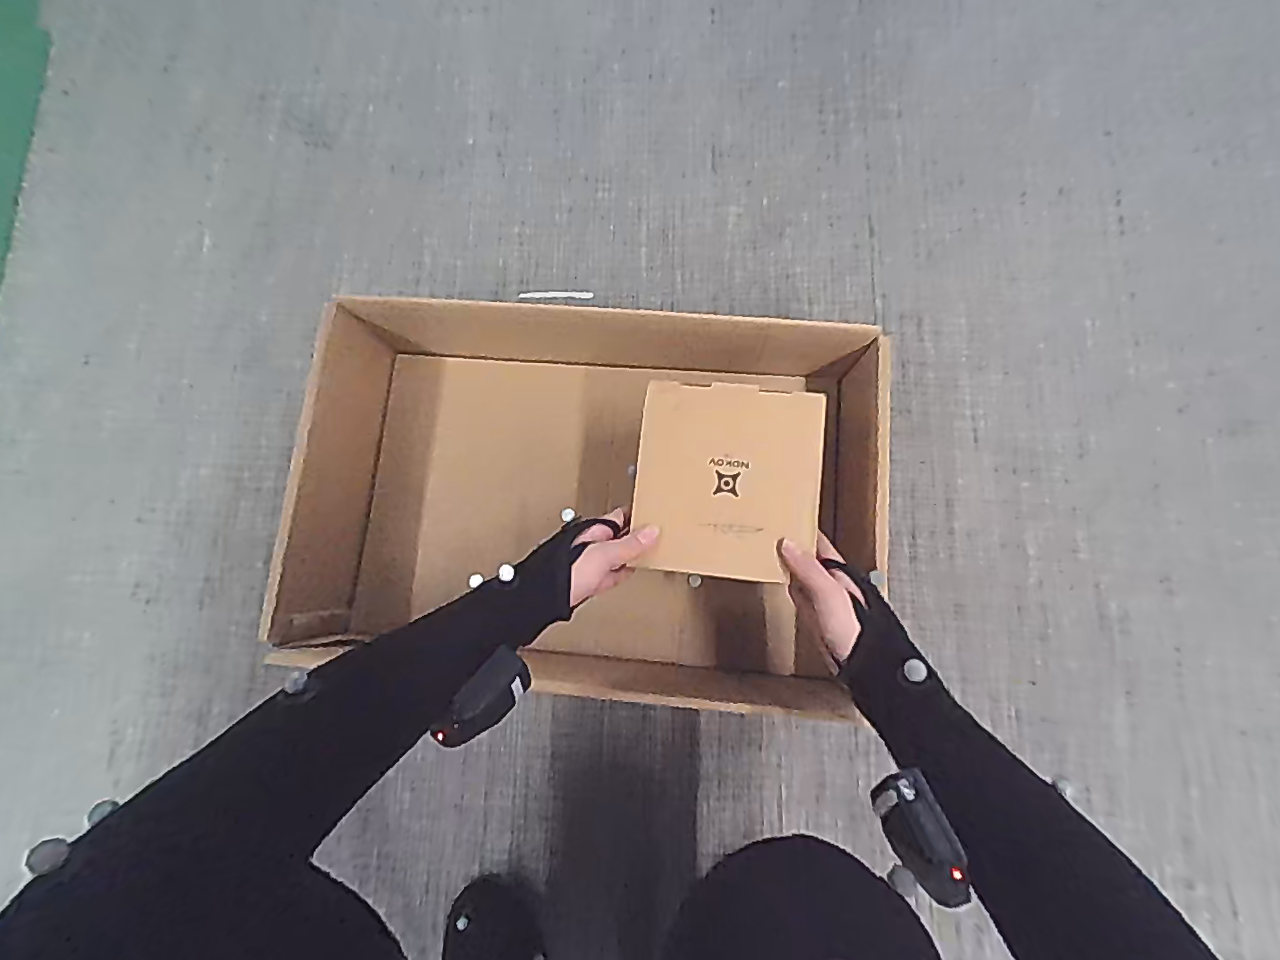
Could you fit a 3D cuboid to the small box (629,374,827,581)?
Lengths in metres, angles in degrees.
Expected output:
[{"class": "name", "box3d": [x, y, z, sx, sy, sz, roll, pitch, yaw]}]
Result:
[{"class": "small box", "box3d": [0.085, 0.007, 0.562, 0.168, 0.176, 0.179, 6, 81, 5]}]
